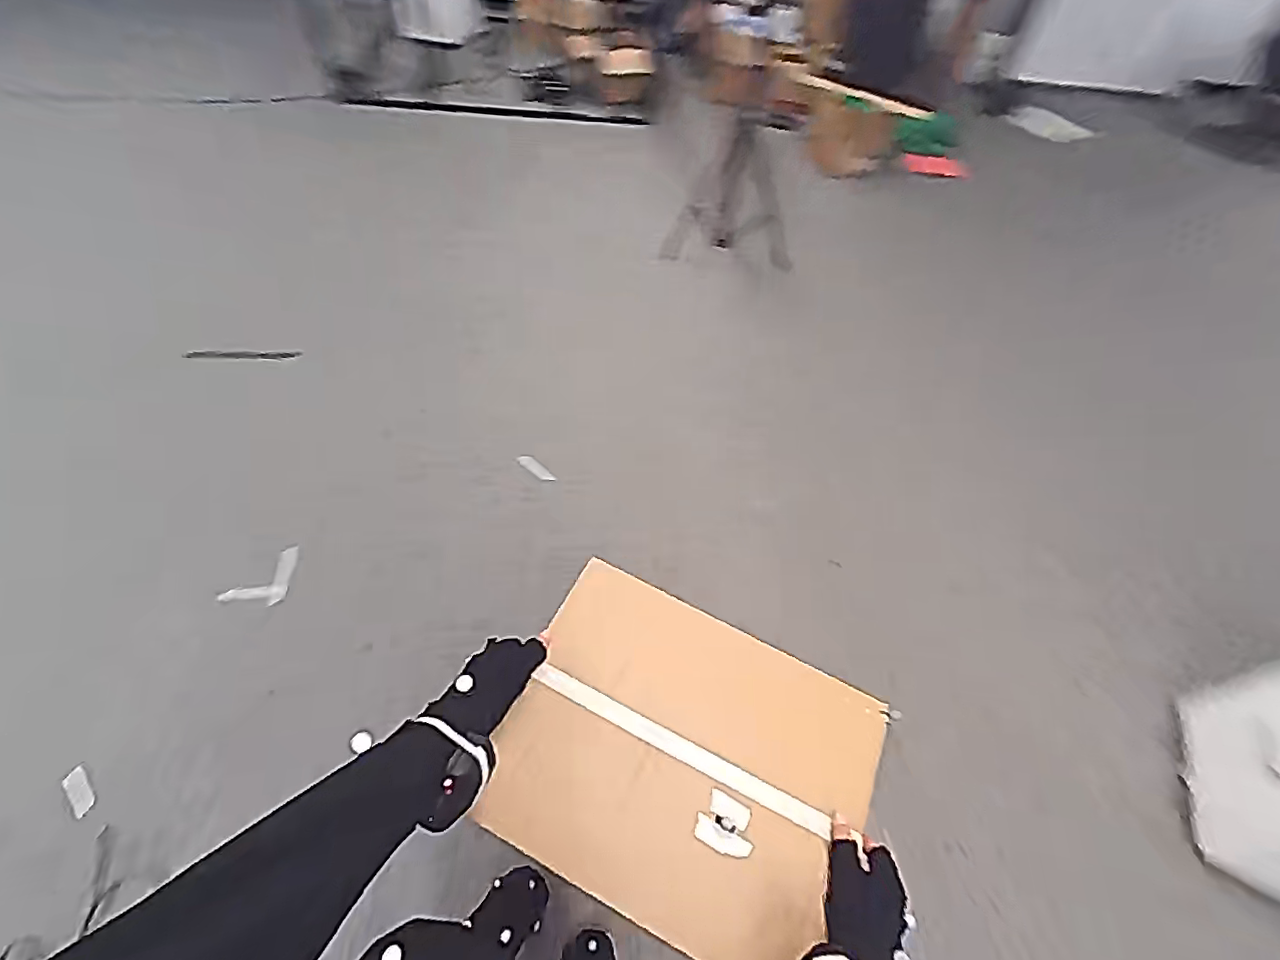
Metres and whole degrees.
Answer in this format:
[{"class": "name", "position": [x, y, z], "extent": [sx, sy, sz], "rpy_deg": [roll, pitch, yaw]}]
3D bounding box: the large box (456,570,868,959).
[{"class": "large box", "position": [0.027, 0.387, 0.739], "extent": [0.408, 0.320, 0.320], "rpy_deg": [24, 58, 8]}]
